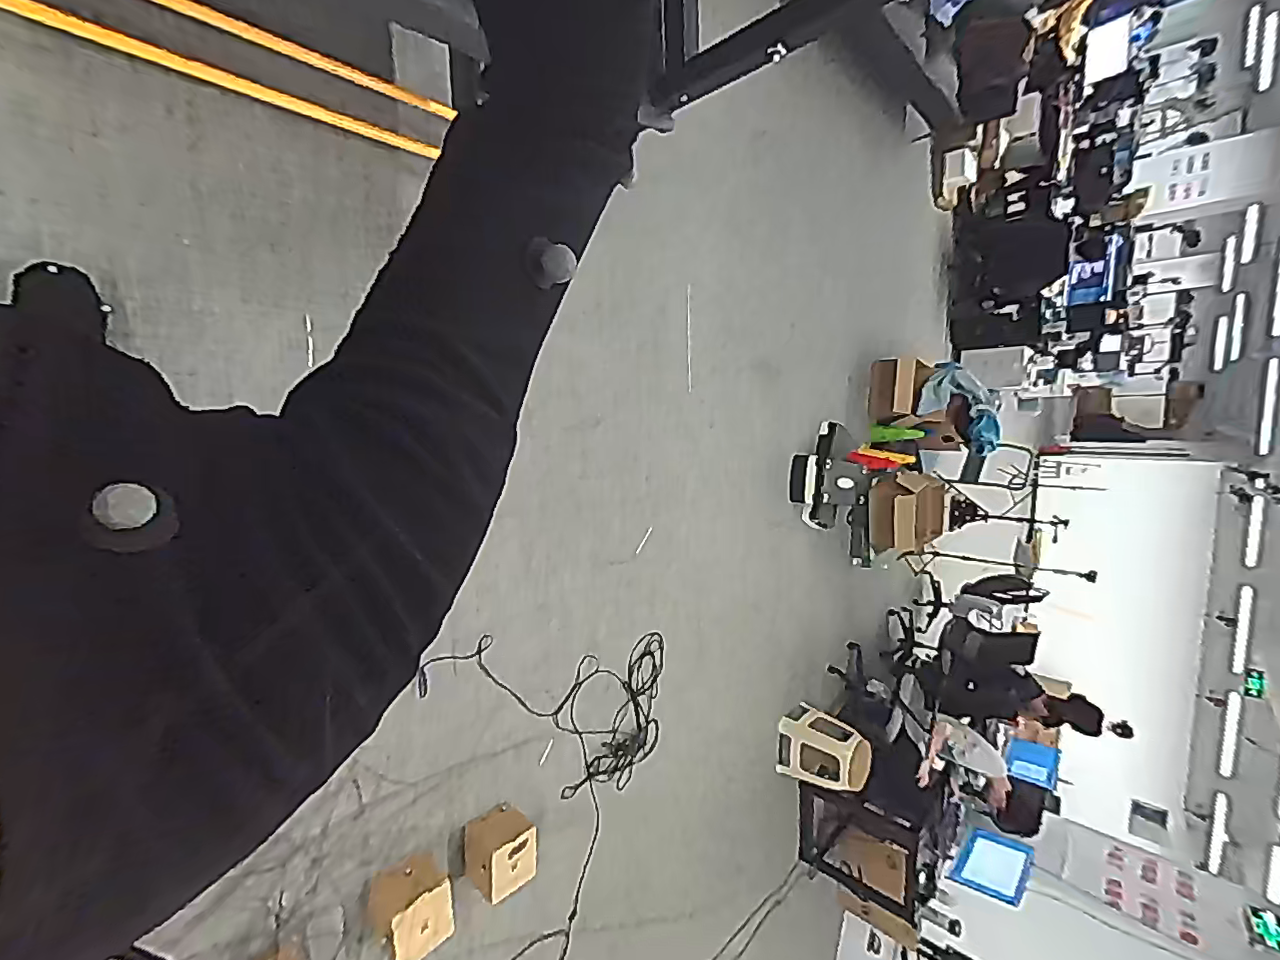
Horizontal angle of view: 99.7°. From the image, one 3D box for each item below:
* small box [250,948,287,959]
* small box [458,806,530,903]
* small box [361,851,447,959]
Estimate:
[{"bbox_3d":[-0.910,1.261,1.270,0.168,0.176,0.179,-13,103,-46],"label":"small box"},{"bbox_3d":[-0.474,1.194,1.747,0.168,0.176,0.179,-3,97,-48],"label":"small box"},{"bbox_3d":[-0.670,1.211,1.533,0.168,0.176,0.179,-11,101,-47],"label":"small box"}]
